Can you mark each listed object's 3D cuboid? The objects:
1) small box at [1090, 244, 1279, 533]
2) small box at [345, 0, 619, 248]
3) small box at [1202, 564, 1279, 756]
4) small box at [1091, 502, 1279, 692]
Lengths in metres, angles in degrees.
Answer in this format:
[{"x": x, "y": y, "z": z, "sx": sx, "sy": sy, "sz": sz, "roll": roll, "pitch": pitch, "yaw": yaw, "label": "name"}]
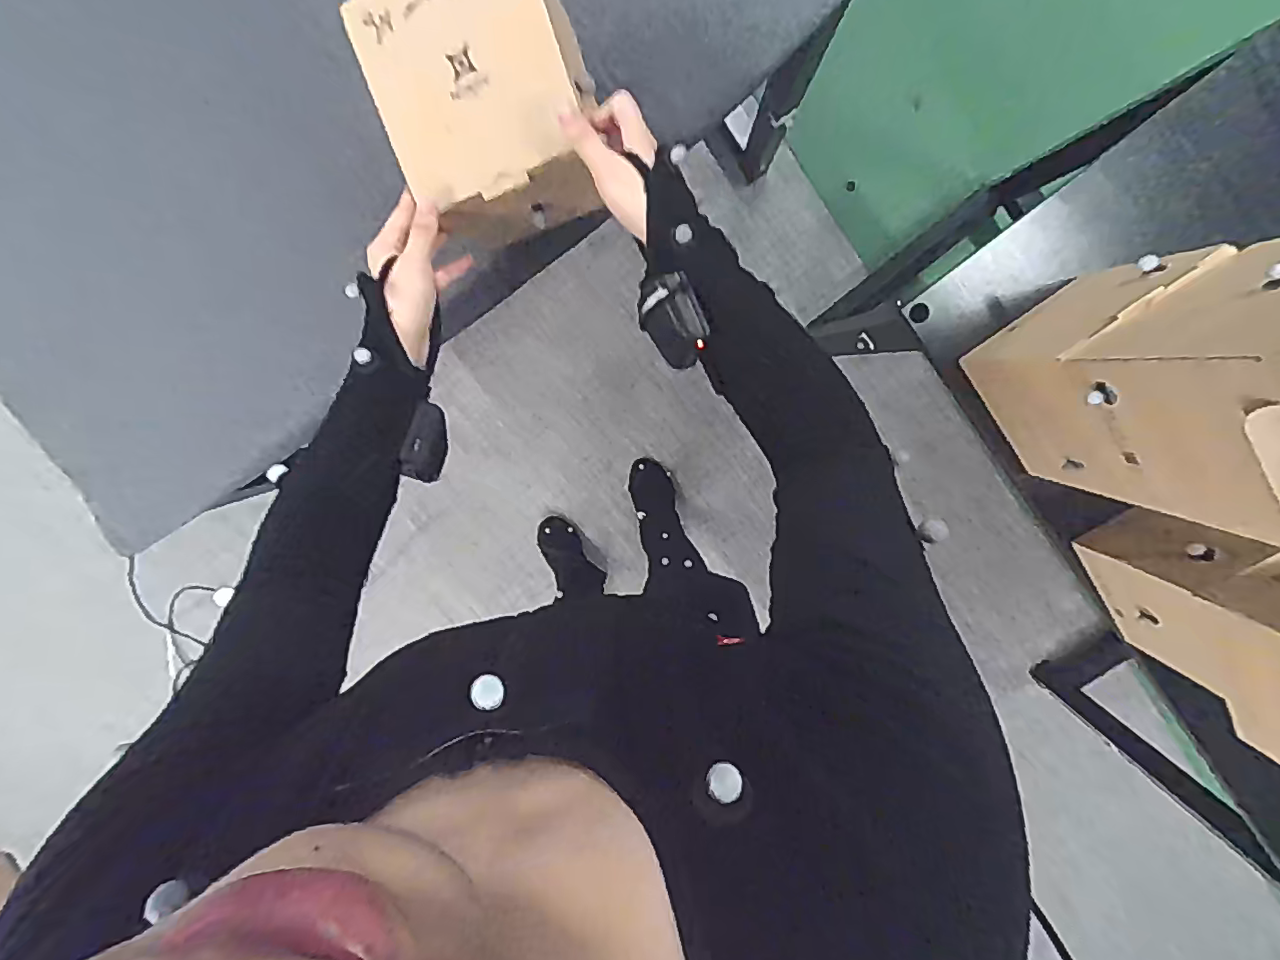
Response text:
[{"x": 0.492, "y": -0.070, "z": 0.401, "sx": 0.179, "sy": 0.176, "sz": 0.168, "roll": -34, "pitch": 99, "yaw": 8, "label": "small box"}, {"x": -0.131, "y": -0.341, "z": 0.523, "sx": 0.168, "sy": 0.176, "sz": 0.179, "roll": -16, "pitch": 102, "yaw": 12, "label": "small box"}, {"x": 0.640, "y": 0.170, "z": 0.444, "sx": 0.168, "sy": 0.176, "sz": 0.179, "roll": -25, "pitch": 99, "yaw": 8, "label": "small box"}, {"x": 0.657, "y": 0.115, "z": 0.598, "sx": 0.179, "sy": 0.176, "sz": 0.168, "roll": -33, "pitch": 99, "yaw": 9, "label": "small box"}]
